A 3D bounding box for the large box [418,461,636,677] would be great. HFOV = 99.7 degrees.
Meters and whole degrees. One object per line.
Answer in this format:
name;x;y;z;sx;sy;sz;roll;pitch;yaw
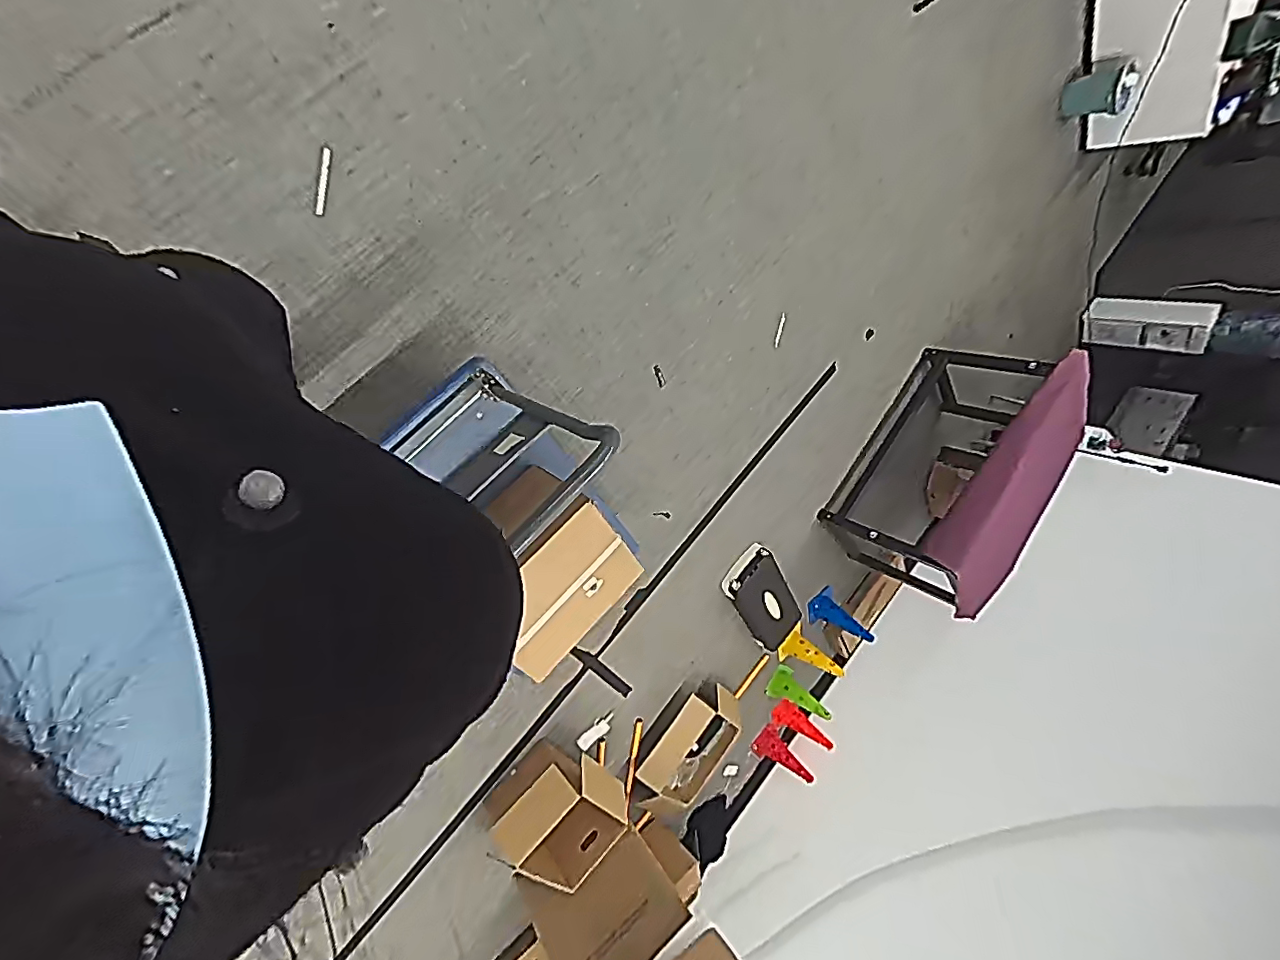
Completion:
large box;-0.294;0.220;1.427;0.408;0.320;0.320;-46;131;-16
